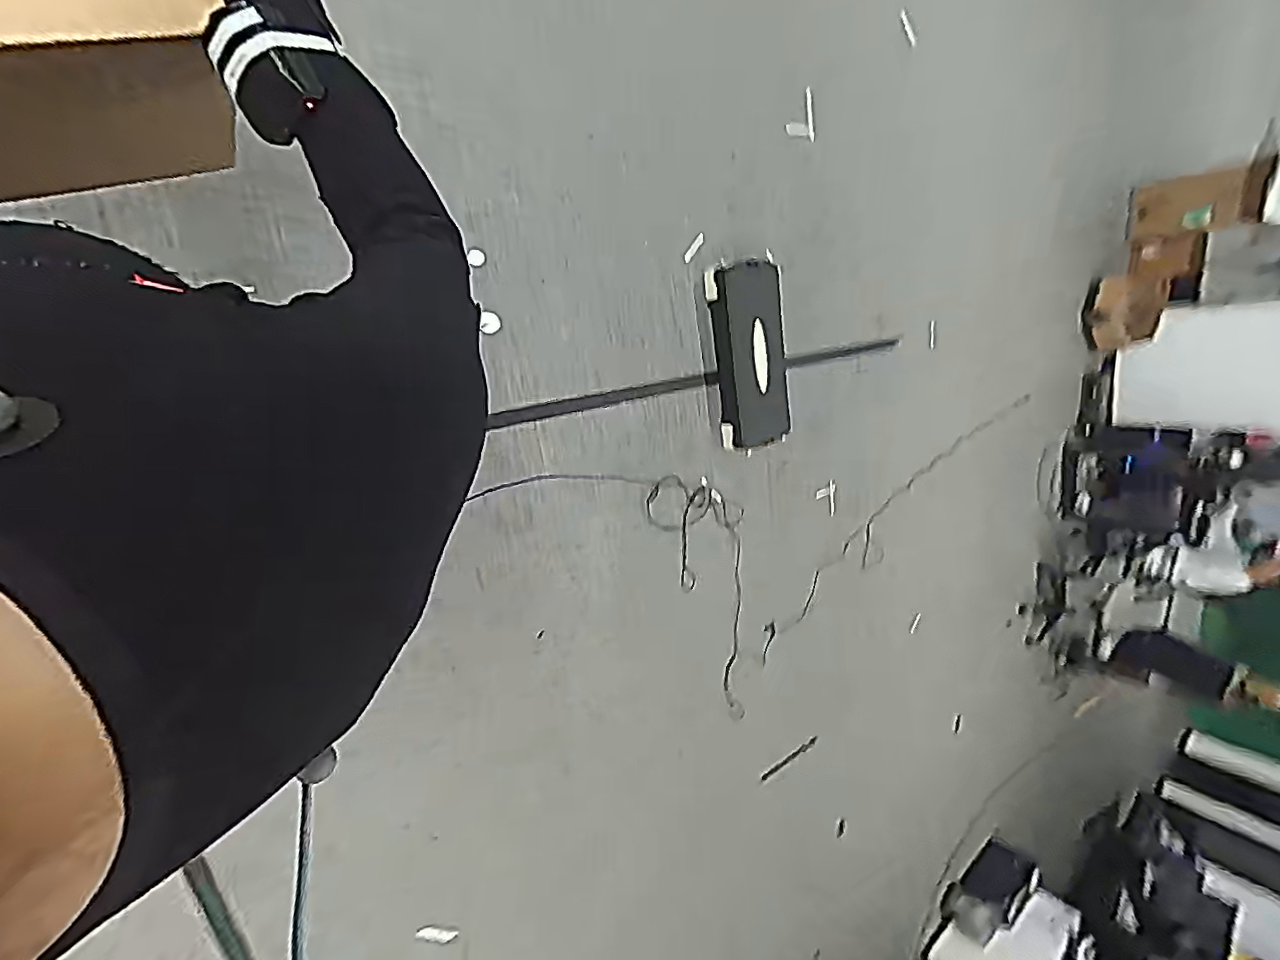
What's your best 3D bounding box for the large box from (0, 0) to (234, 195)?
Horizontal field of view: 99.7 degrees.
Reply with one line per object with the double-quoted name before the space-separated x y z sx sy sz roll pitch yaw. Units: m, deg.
"large box" -0.558 -0.382 0.339 0.408 0.320 0.320 -30 116 -29
